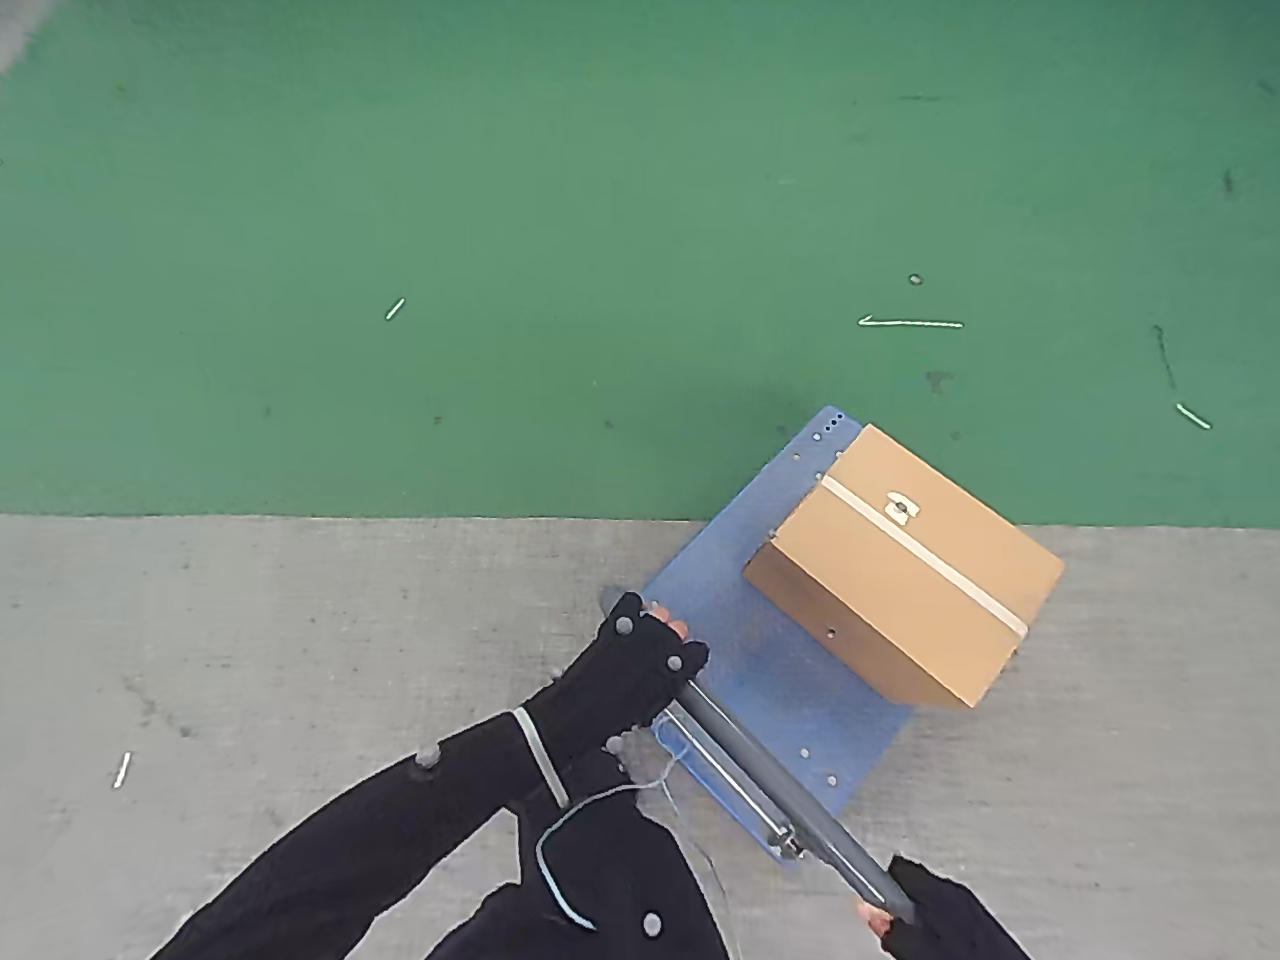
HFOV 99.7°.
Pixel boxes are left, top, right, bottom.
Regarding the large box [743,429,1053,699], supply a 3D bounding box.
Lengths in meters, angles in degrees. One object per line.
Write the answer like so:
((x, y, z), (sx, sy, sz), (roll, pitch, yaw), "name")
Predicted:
((0.474, 0.179, 1.083), (0.408, 0.320, 0.320), (39, 74, 15), "large box")
